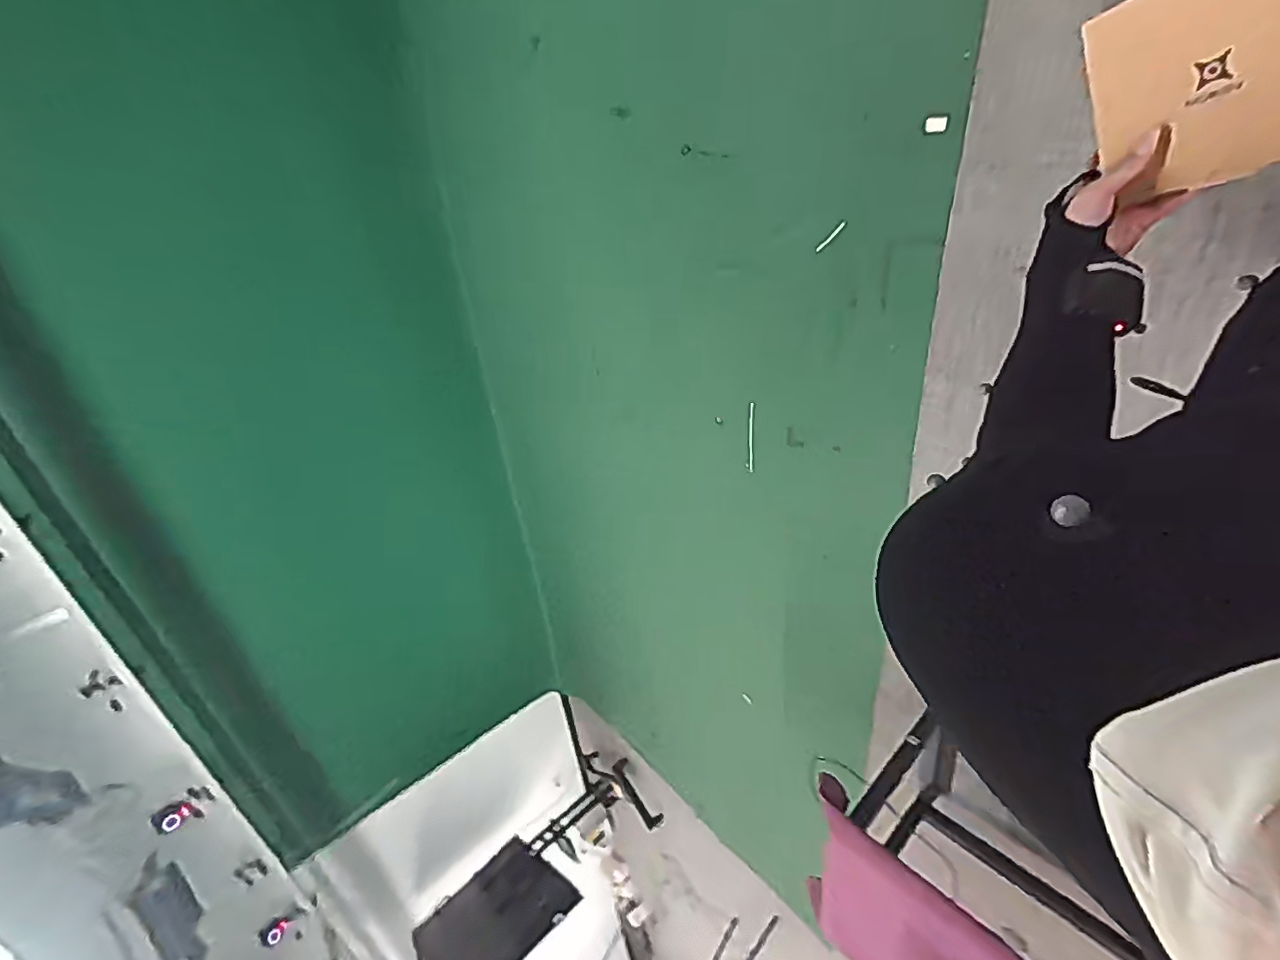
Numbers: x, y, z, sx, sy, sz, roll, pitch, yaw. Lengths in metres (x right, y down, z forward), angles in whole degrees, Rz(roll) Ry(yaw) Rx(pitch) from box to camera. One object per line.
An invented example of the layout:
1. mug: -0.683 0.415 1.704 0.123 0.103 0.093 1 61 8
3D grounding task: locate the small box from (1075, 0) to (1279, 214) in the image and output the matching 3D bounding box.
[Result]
1. small box: 0.543 -0.384 0.496 0.168 0.176 0.179 8 130 59
